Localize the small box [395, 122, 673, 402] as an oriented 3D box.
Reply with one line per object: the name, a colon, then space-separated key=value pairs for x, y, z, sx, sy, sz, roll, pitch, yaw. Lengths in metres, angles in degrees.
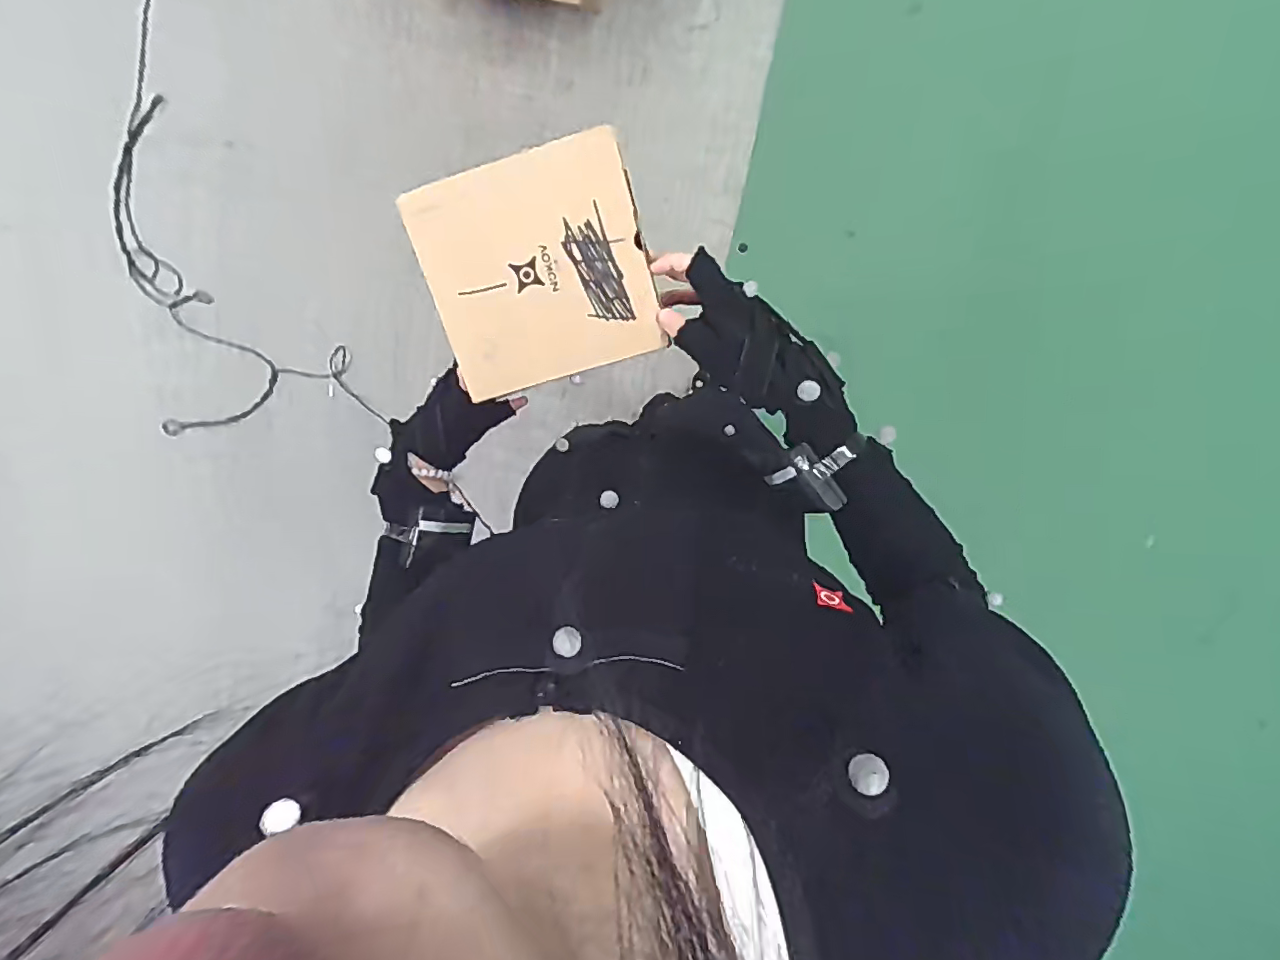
small box: x=-0.077 y=-0.186 z=0.491 sx=0.179 sy=0.176 sz=0.168 roll=-16 pitch=107 yaw=7
